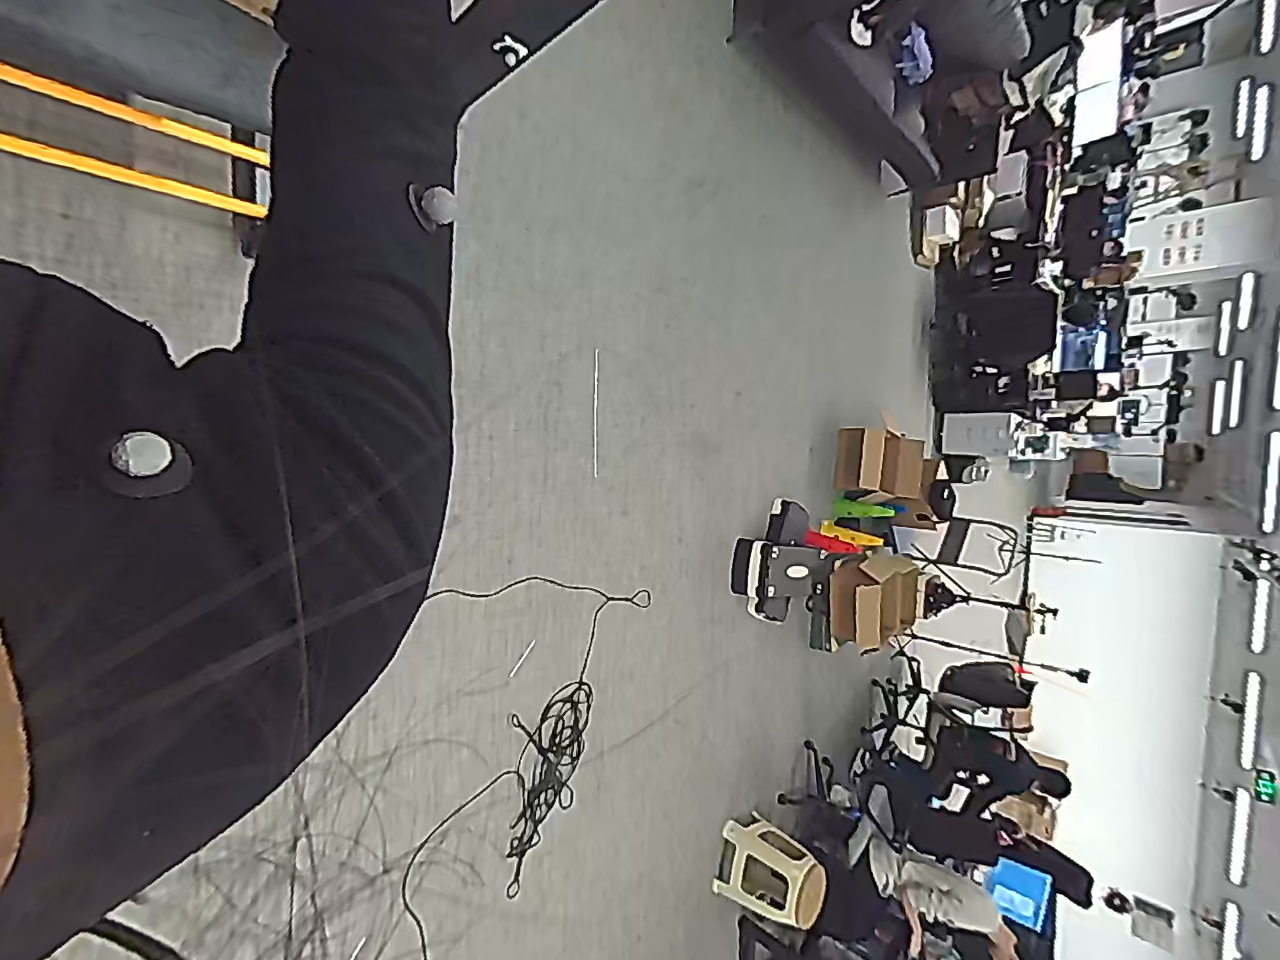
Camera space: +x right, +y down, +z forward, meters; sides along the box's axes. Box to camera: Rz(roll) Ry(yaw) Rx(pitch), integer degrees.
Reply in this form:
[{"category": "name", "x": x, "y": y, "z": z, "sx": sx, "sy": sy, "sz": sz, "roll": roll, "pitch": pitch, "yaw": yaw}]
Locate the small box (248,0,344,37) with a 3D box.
[{"category": "small box", "x": -0.395, "y": -0.629, "z": 0.567, "sx": 0.168, "sy": 0.176, "sz": 0.179, "roll": 2, "pitch": 92, "yaw": -48}]
